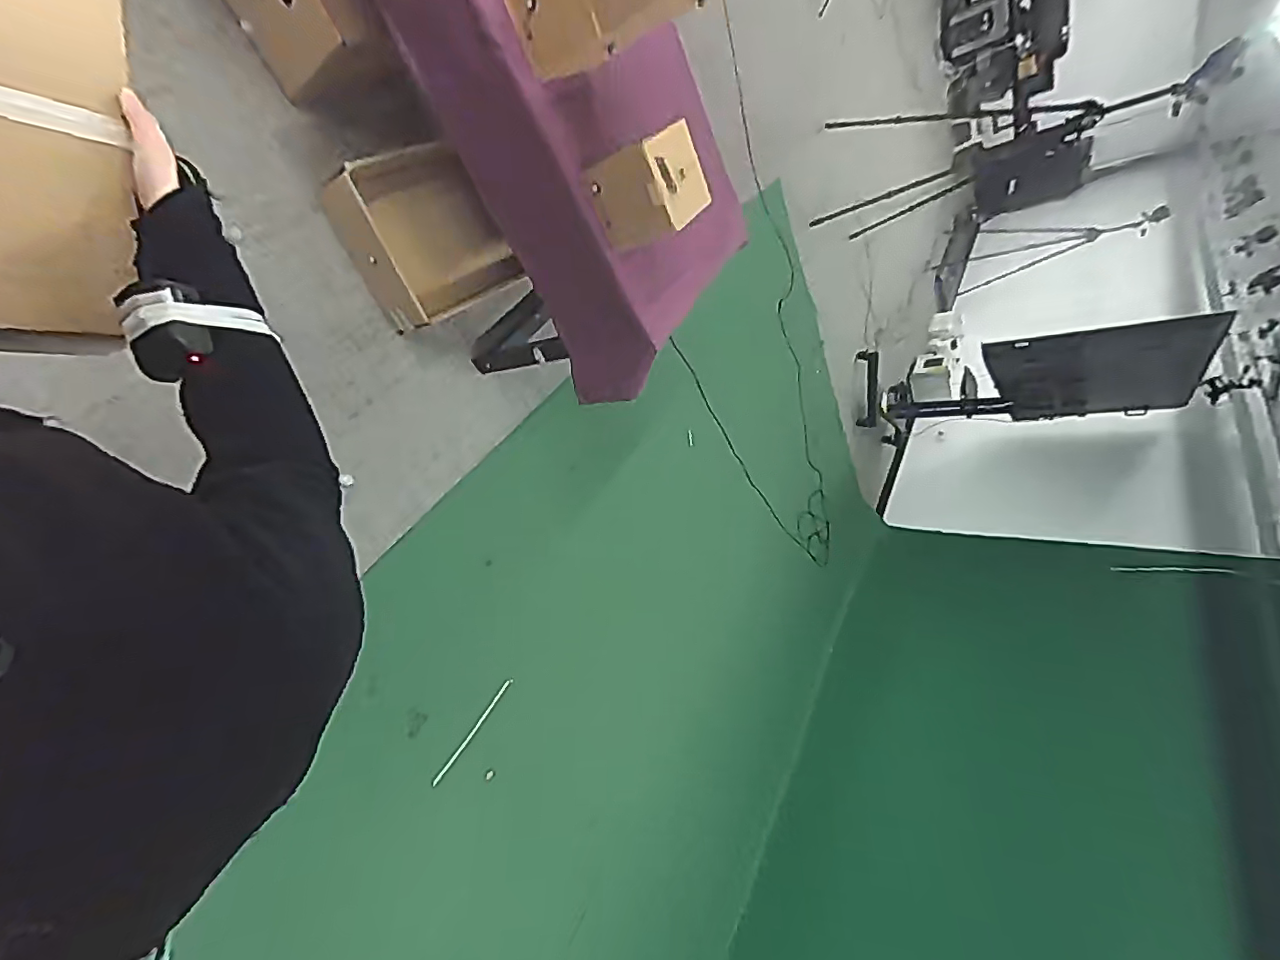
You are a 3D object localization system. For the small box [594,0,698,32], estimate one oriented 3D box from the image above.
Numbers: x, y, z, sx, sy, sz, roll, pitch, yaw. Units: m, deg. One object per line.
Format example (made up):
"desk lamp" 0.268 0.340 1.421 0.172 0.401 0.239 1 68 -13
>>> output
"small box" 0.021 -0.854 0.860 0.179 0.176 0.168 -47 125 -37

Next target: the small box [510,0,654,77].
"small box" -0.108 -0.856 0.962 0.179 0.176 0.168 -48 126 -36

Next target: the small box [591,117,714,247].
"small box" 0.022 -0.611 1.124 0.179 0.176 0.168 -54 129 -34

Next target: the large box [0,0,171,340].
"large box" -0.646 -0.275 0.382 0.408 0.320 0.320 -11 106 -50
